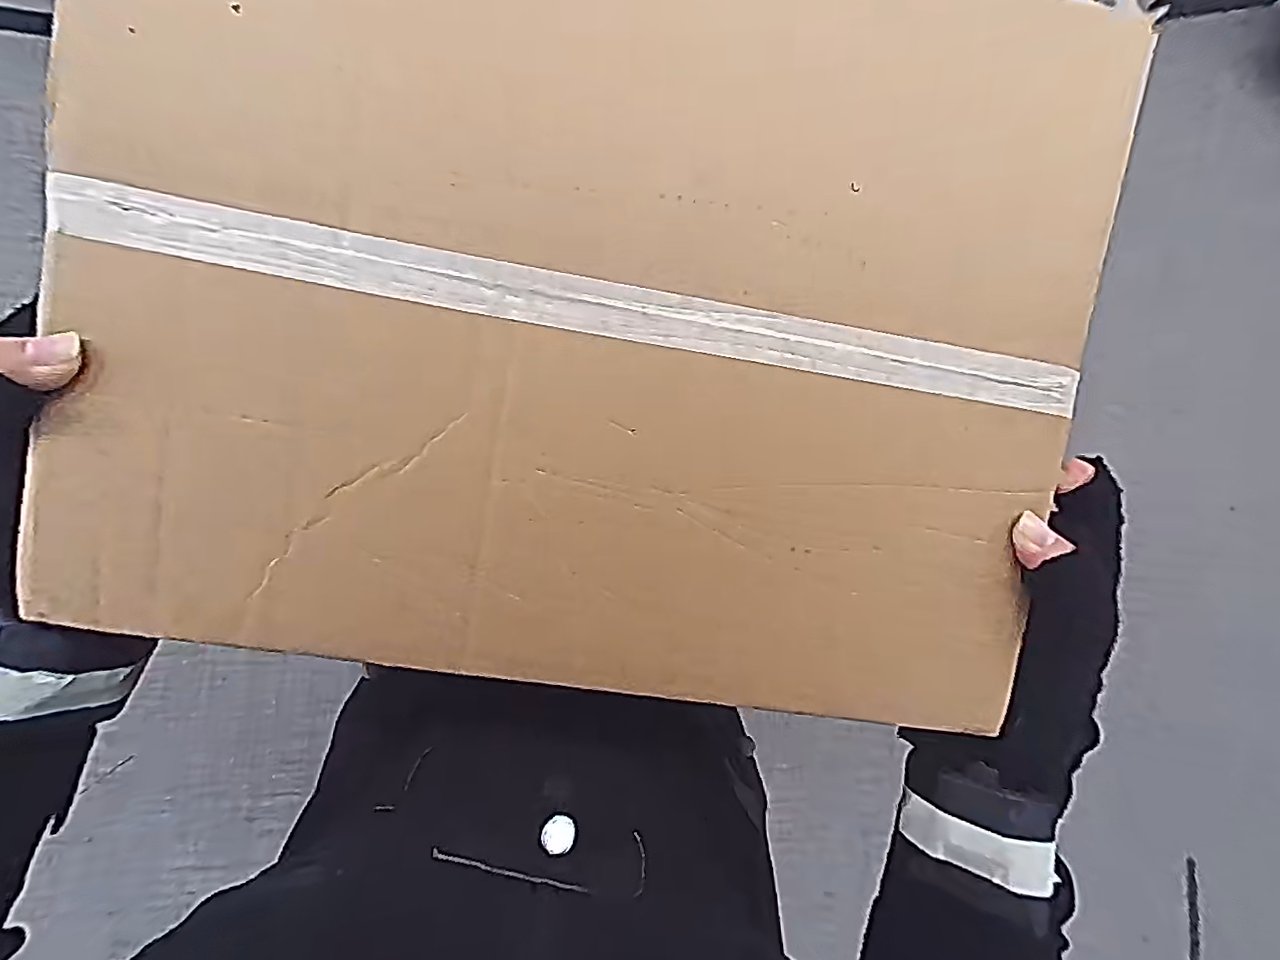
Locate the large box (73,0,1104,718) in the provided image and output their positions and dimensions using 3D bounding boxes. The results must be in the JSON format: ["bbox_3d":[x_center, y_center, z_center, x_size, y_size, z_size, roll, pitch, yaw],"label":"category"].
[{"bbox_3d":[-0.026,-0.076,0.376,0.408,0.320,0.320,9,94,-6],"label":"large box"}]
